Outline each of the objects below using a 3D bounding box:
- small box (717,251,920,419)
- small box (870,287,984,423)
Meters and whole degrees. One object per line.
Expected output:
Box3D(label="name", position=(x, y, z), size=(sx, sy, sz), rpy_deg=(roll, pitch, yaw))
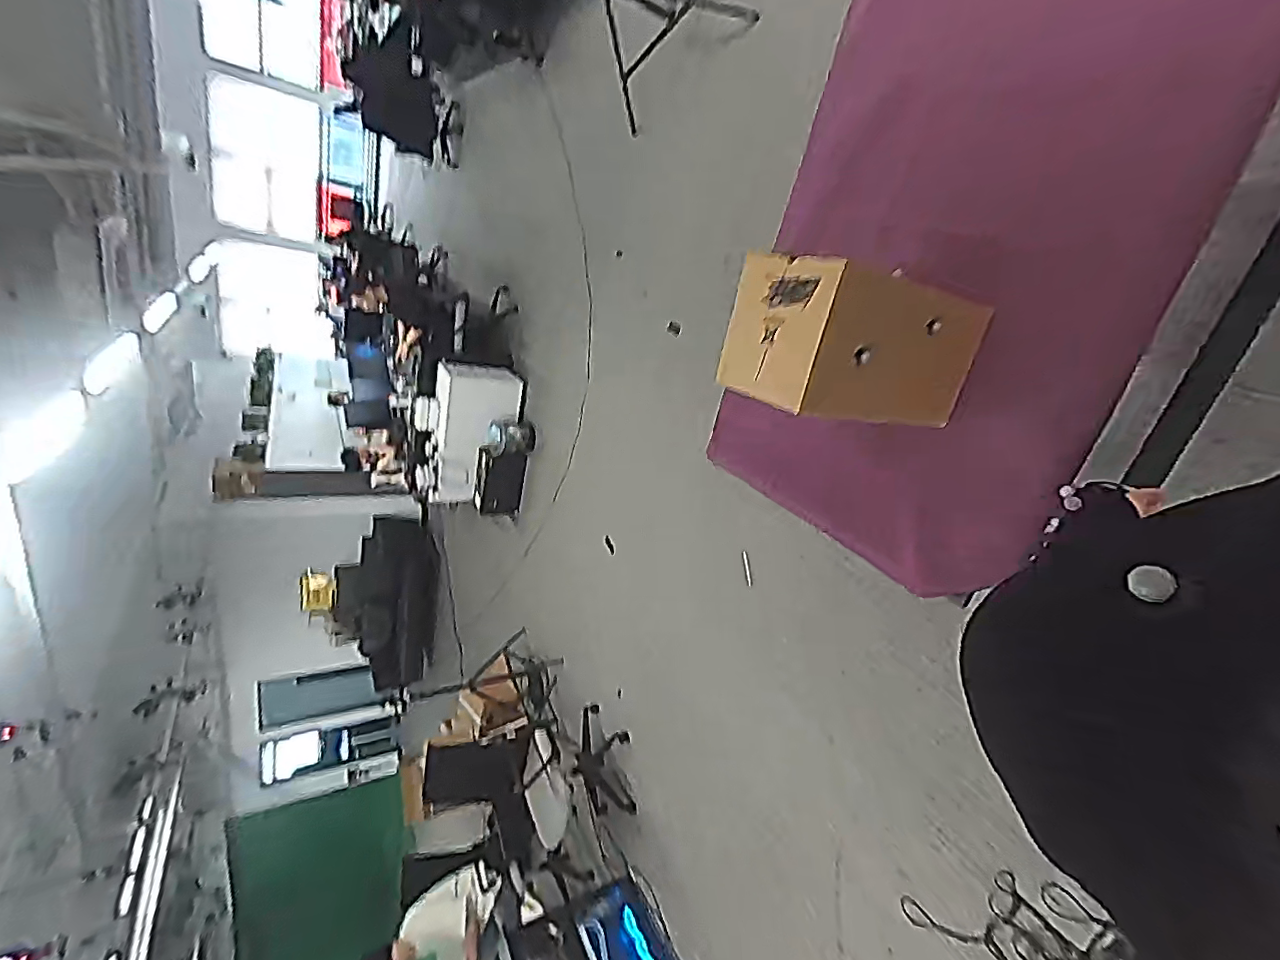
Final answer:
Box3D(label="small box", position=(0.233, -0.188, 0.713), size=(0.168, 0.176, 0.179), rpy_deg=(38, 122, 52))
Box3D(label="small box", position=(0.369, -0.189, 0.806), size=(0.168, 0.176, 0.179), rpy_deg=(38, 121, 51))
